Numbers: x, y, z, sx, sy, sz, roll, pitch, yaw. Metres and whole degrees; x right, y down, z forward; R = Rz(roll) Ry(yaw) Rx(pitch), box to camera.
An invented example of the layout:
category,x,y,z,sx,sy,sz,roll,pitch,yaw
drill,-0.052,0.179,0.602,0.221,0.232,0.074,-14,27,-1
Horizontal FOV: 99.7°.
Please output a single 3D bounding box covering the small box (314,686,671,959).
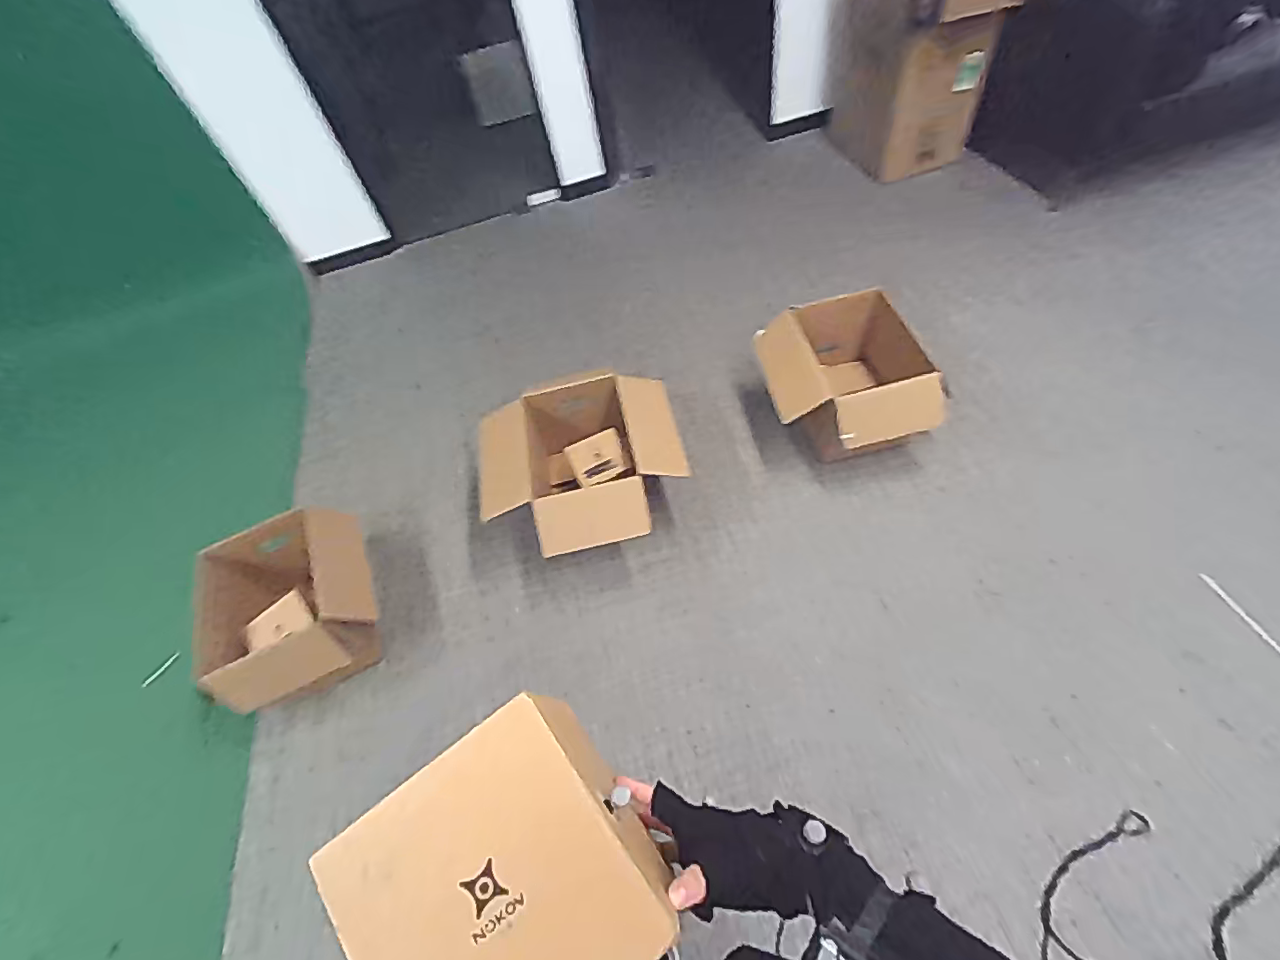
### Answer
category,x,y,z,sx,sy,sz,roll,pitch,yaw
small box,-0.095,0.286,0.406,0.168,0.176,0.179,-33,68,-14
